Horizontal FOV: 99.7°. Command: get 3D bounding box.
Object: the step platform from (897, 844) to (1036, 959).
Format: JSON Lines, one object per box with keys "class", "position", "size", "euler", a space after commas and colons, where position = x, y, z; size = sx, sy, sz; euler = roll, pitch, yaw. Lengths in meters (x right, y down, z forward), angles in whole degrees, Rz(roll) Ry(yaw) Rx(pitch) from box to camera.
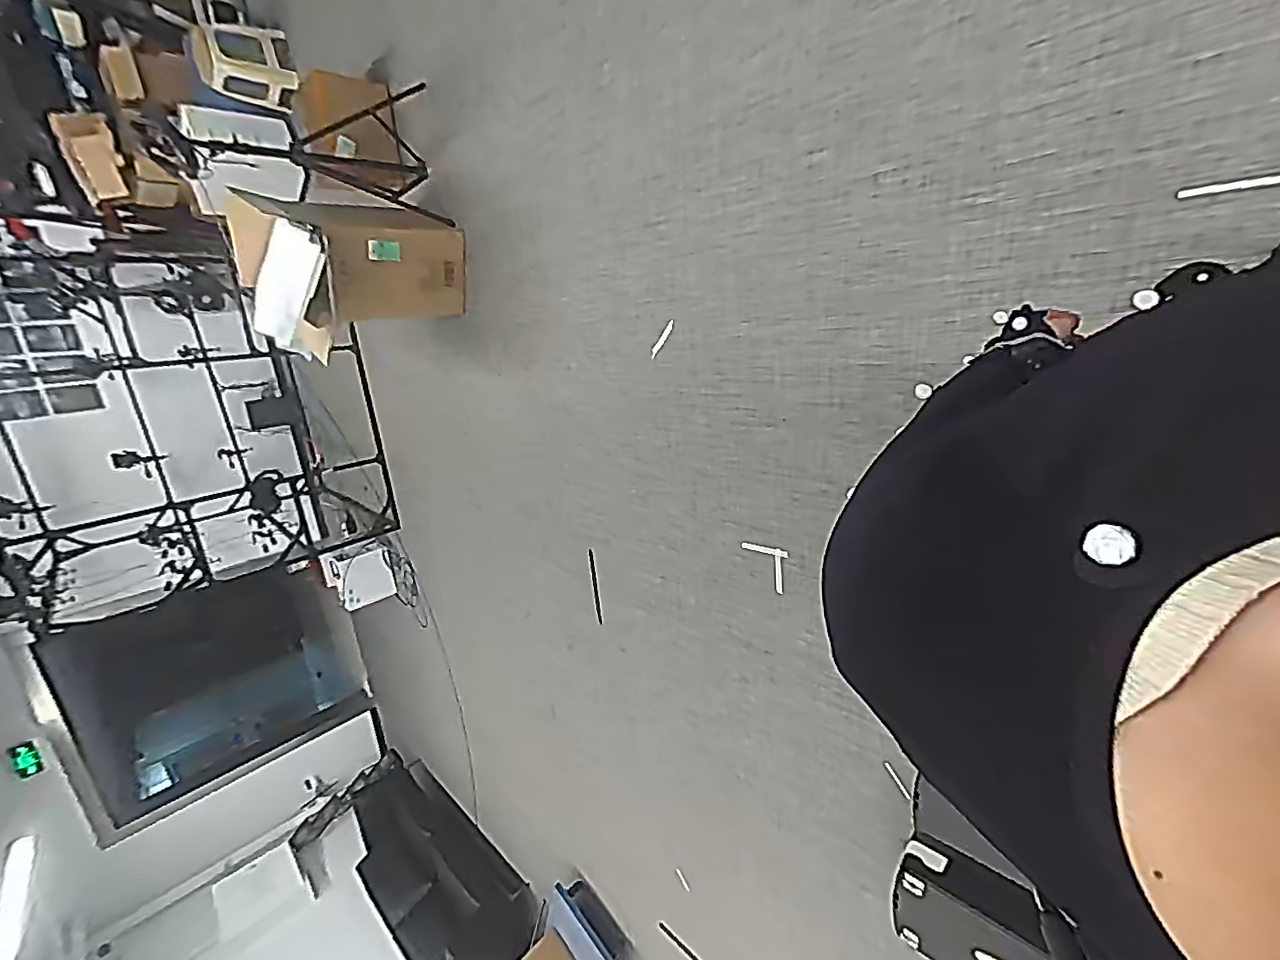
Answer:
{"class": "step platform", "position": [1.008, 1.268, 1.327], "size": [0.684, 0.204, 0.286], "euler": [18, 116, 44]}
